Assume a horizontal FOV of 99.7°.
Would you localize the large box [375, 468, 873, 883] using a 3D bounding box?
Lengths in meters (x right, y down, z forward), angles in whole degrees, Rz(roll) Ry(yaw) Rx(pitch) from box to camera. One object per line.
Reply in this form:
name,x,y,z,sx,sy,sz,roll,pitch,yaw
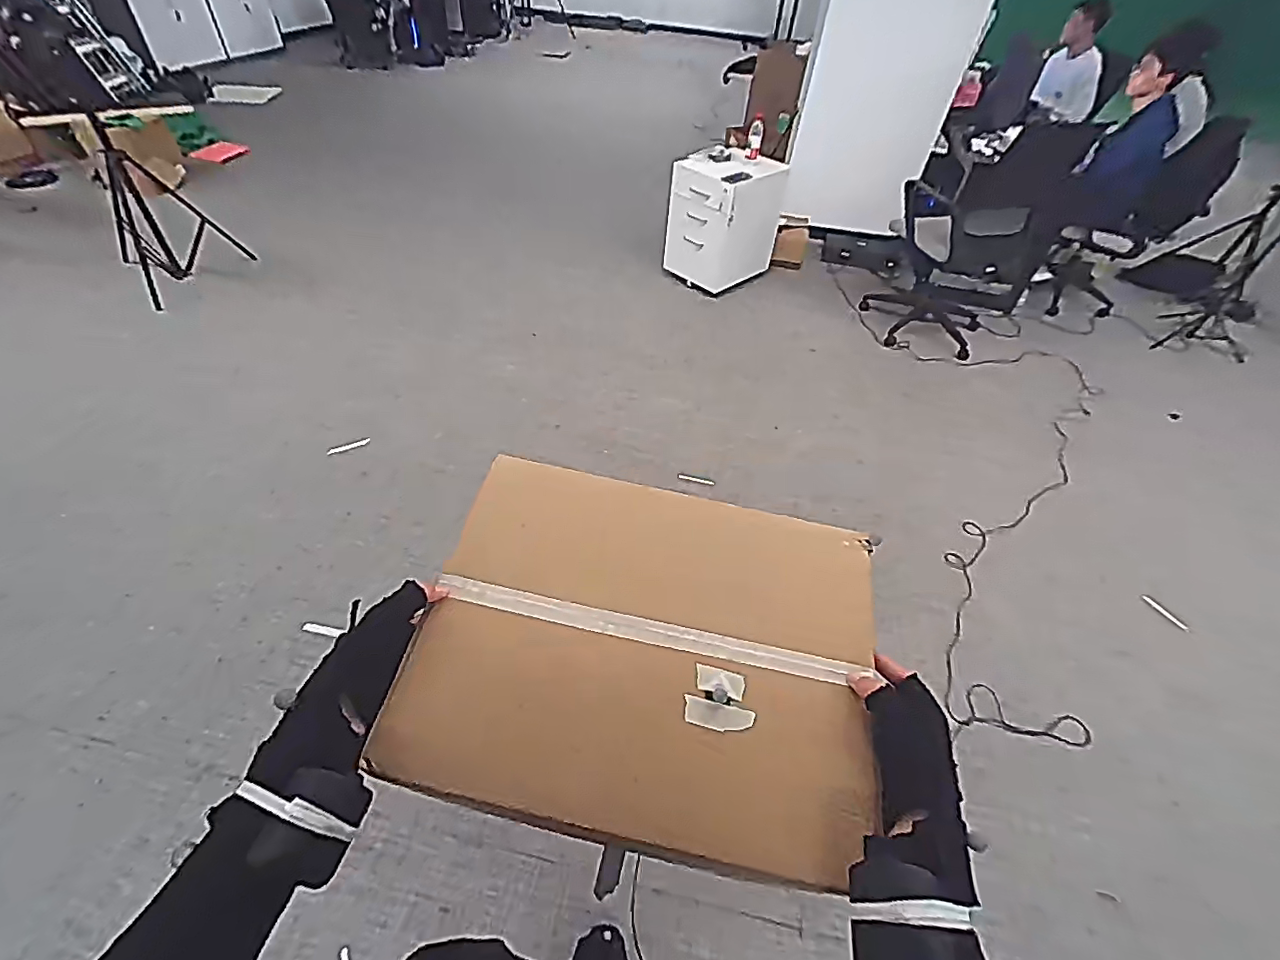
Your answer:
large box,-0.004,0.229,0.623,0.408,0.320,0.320,12,56,2
